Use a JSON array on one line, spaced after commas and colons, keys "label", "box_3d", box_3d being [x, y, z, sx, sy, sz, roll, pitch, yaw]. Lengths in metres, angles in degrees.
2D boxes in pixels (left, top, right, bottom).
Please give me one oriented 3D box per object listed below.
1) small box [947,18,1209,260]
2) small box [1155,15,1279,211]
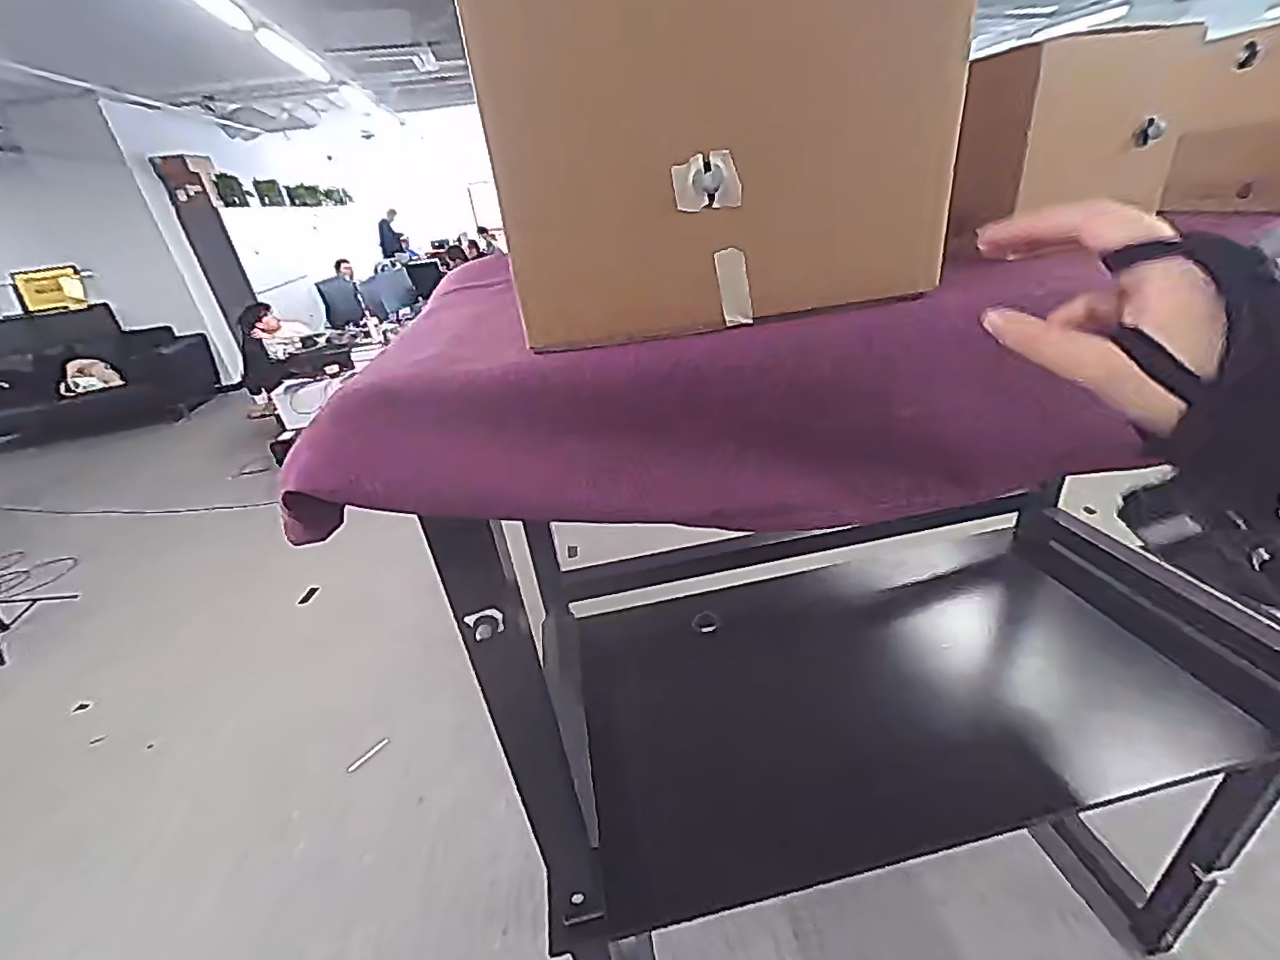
[{"label": "small box", "box_3d": [0.384, -0.327, 0.542, 0.179, 0.176, 0.168, -14, 28, -11]}, {"label": "small box", "box_3d": [0.702, -0.383, 0.559, 0.179, 0.176, 0.168, -11, 27, -6]}]
